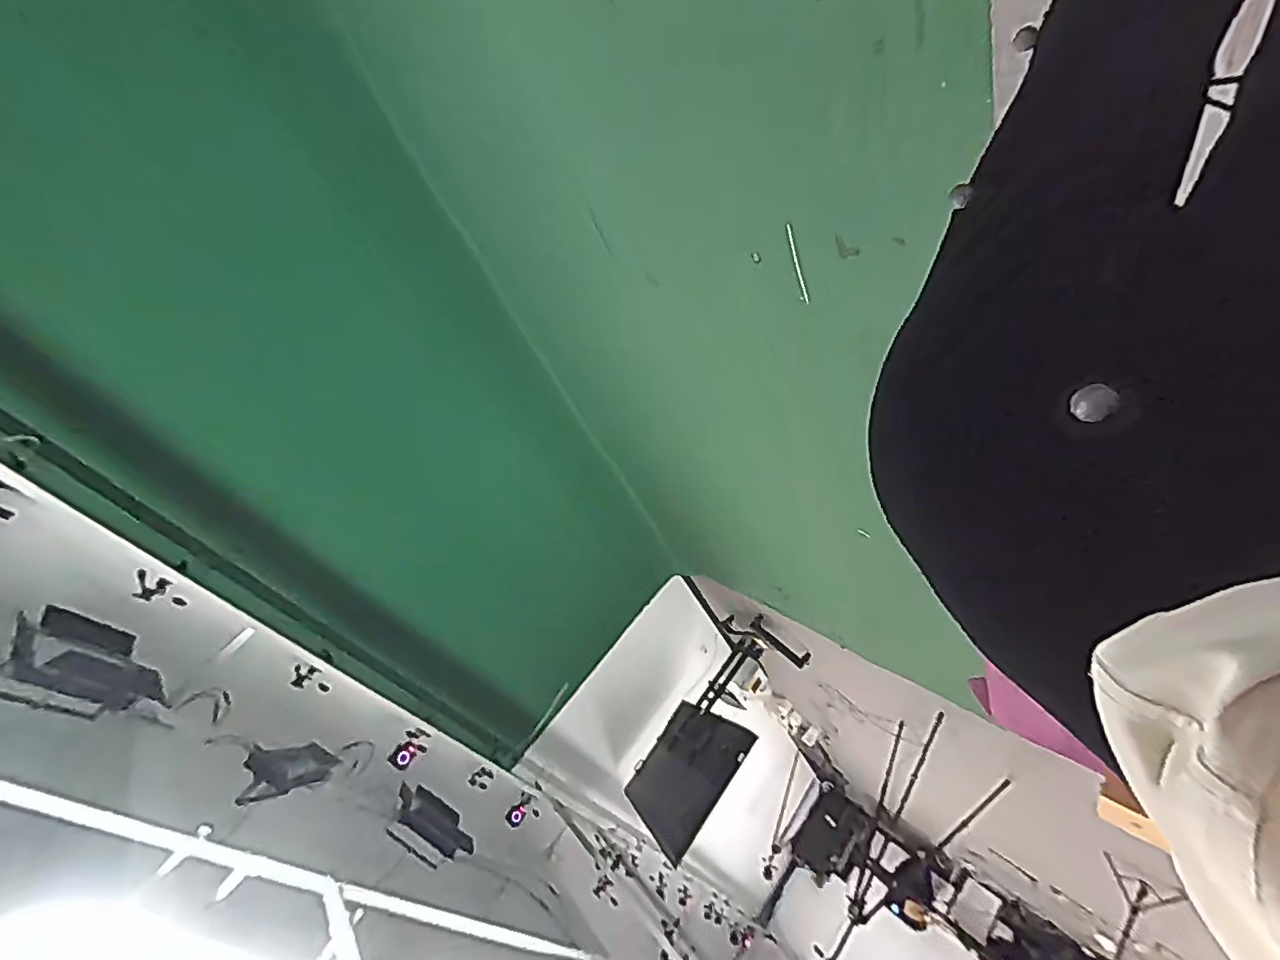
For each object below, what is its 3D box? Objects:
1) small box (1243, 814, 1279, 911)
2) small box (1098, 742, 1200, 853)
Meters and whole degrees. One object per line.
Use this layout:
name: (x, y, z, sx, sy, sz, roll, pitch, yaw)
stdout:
small box: (1.562, 0.924, 1.261, 0.168, 0.176, 0.179, 19, 151, 48)
small box: (1.380, 0.857, 1.470, 0.168, 0.176, 0.179, 17, 148, 48)
